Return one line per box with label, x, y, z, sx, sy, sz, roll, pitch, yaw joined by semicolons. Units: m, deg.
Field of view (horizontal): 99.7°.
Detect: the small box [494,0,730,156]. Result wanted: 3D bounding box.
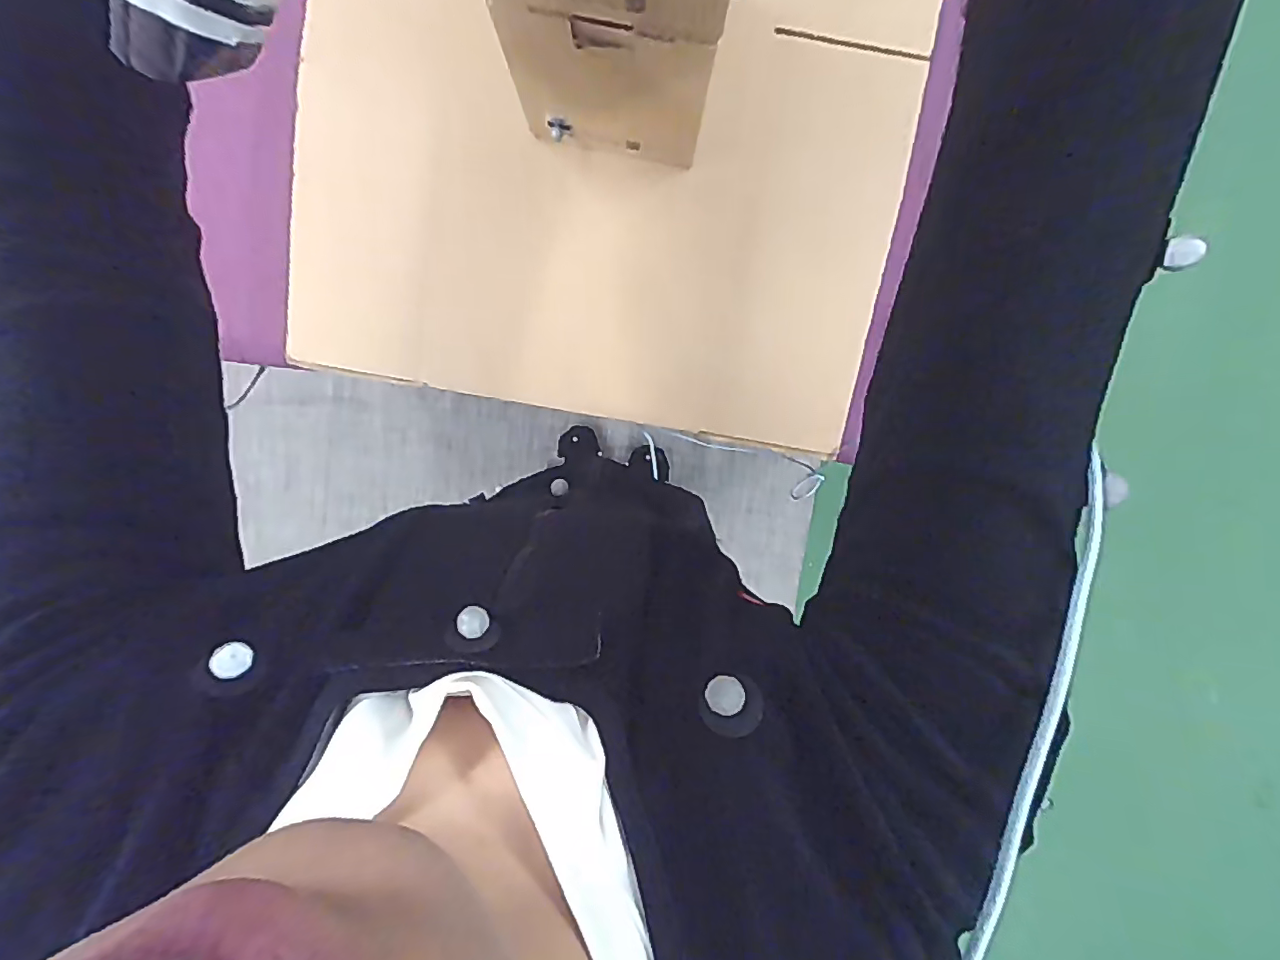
small box;-0.010;-0.402;0.446;0.168;0.176;0.179;8;96;-1
